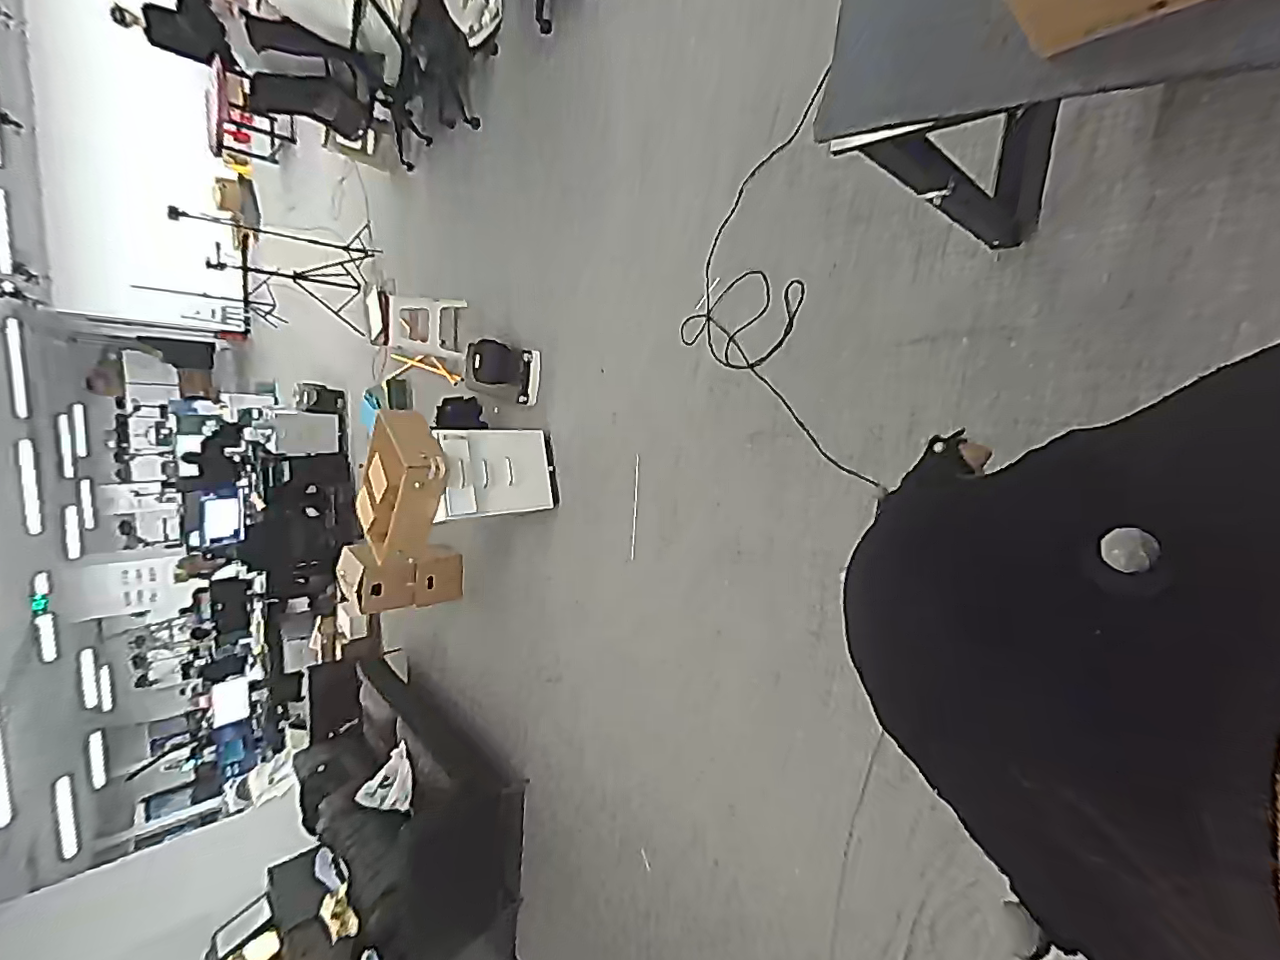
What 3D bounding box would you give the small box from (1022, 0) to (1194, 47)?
[{"bbox_3d":[0.462,-0.565,0.503,0.168,0.176,0.179,13,103,47],"label":"small box"}]
